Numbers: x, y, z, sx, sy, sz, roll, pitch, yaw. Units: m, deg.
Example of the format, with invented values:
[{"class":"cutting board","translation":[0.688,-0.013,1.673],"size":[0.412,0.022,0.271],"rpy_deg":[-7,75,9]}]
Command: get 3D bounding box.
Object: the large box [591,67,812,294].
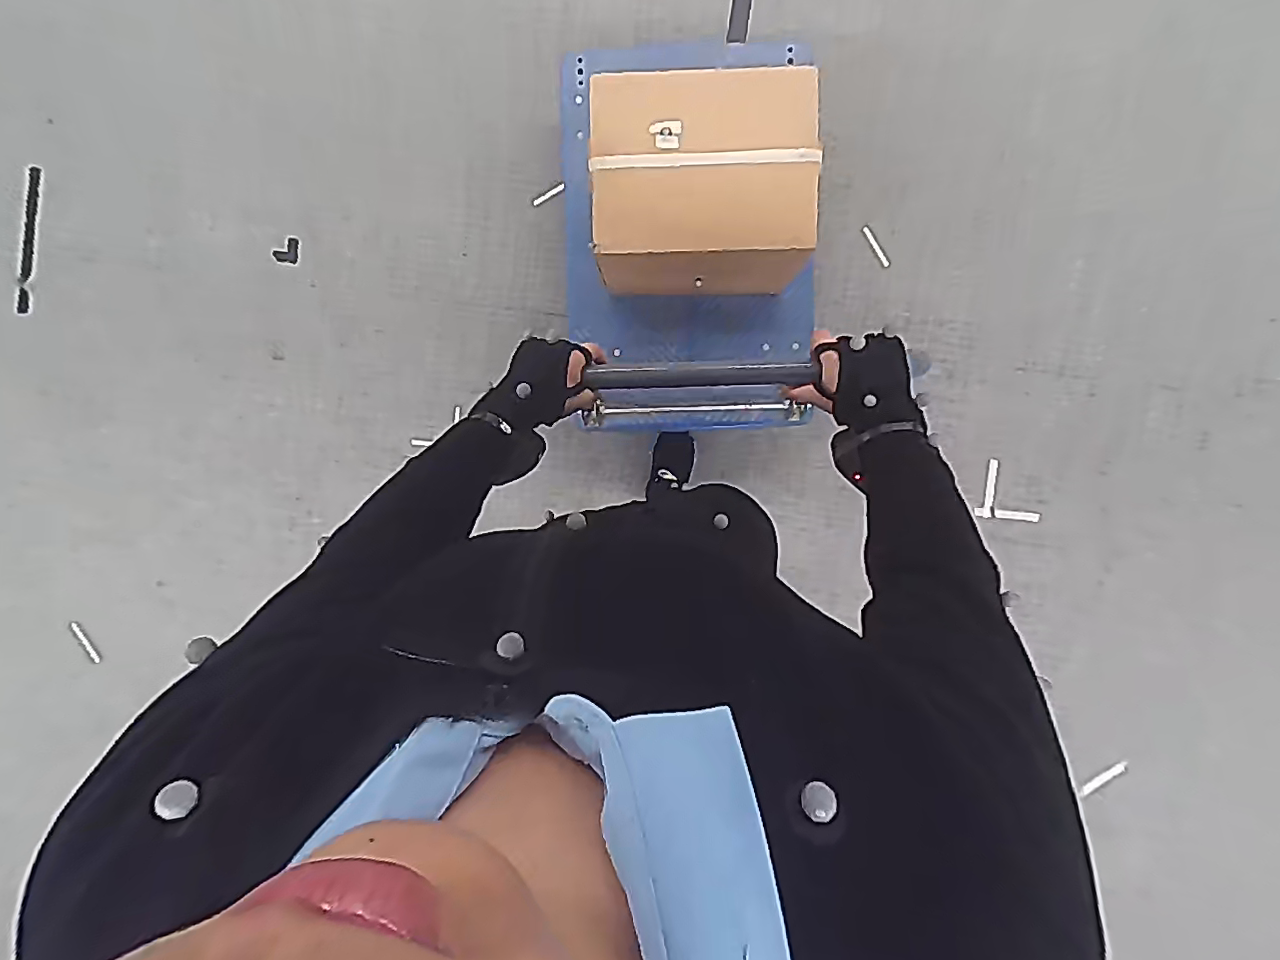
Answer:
[{"class":"large box","translation":[0.122,-0.591,1.134],"size":[0.408,0.320,0.320],"rpy_deg":[-1,94,3]}]
